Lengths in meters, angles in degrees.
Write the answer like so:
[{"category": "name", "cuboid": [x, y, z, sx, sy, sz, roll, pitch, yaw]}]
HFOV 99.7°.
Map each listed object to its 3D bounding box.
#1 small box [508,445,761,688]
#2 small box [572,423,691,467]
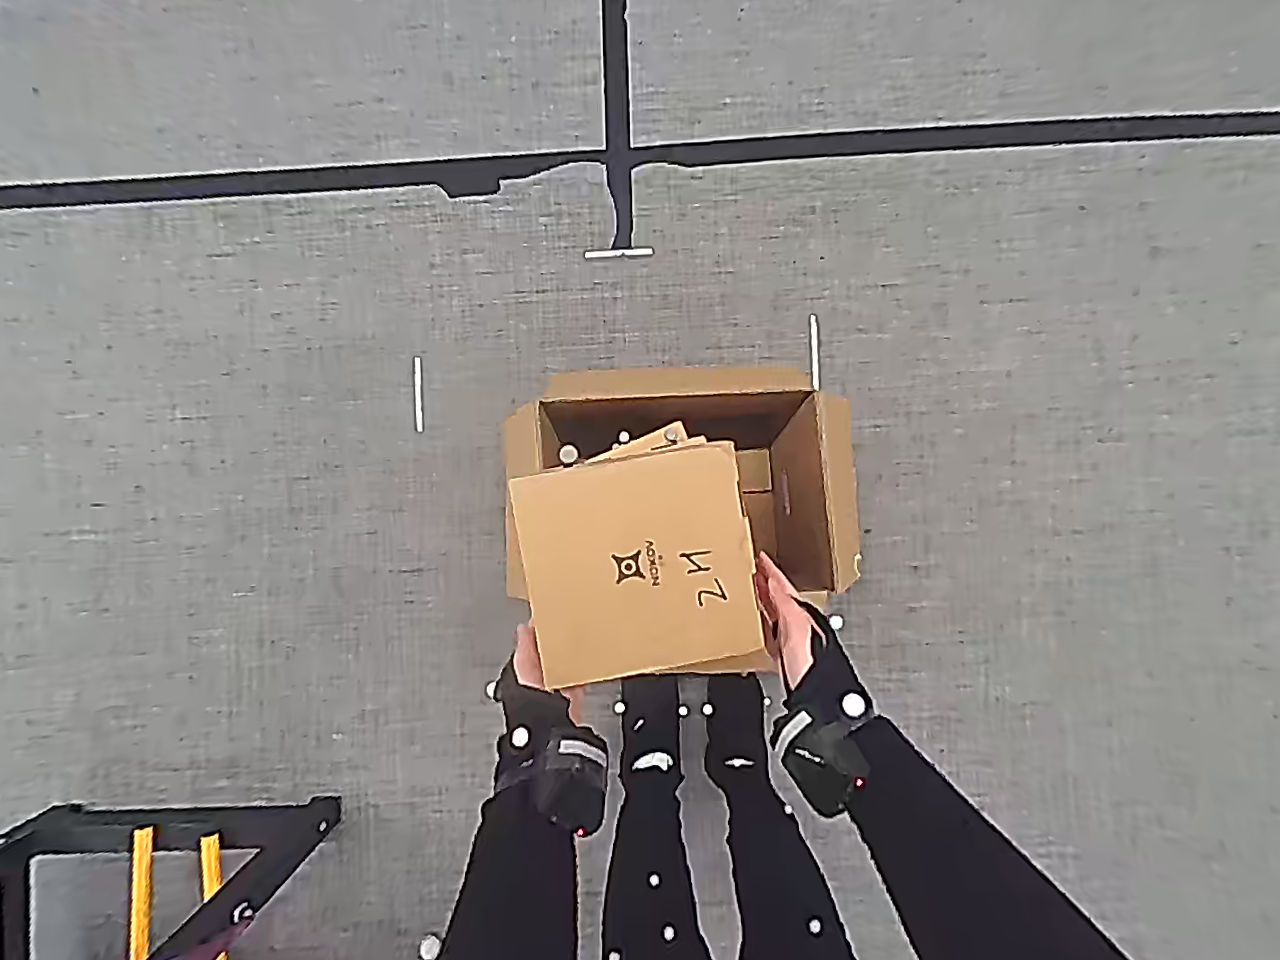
[{"category": "small box", "cuboid": [-0.007, 0.064, 0.492, 0.179, 0.176, 0.168, -10, 93, -4]}, {"category": "small box", "cuboid": [0.002, 0.027, 0.820, 0.179, 0.176, 0.168, -24, 93, -3]}]
